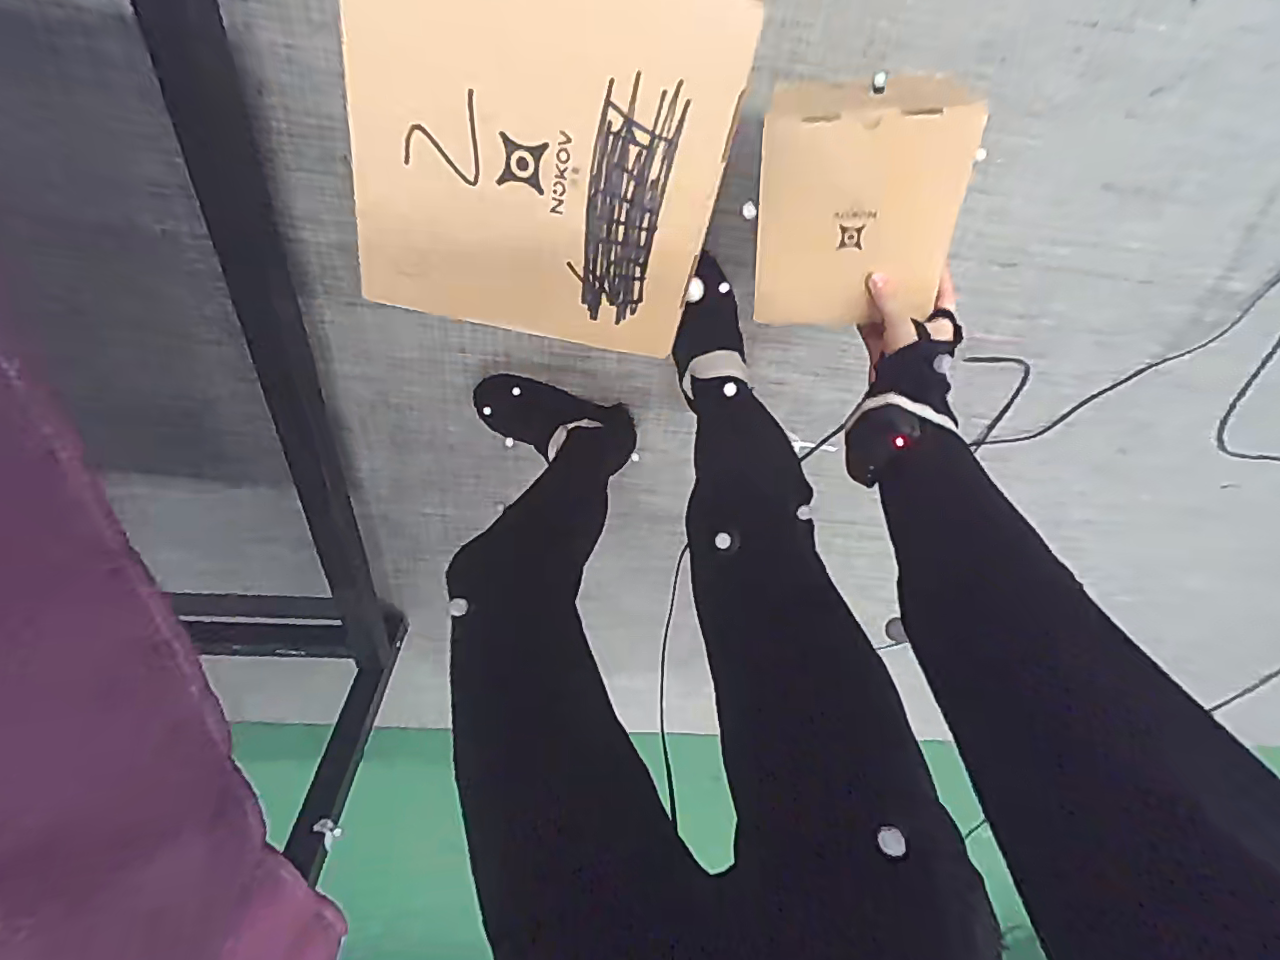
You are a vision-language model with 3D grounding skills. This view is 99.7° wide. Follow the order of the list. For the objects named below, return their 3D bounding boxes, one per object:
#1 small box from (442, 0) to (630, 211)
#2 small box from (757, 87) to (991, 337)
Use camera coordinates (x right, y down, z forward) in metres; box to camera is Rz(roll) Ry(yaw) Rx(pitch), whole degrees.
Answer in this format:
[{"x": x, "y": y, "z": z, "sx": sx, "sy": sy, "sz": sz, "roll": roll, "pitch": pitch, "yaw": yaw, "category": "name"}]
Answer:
[{"x": -0.102, "y": -0.407, "z": 0.576, "sx": 0.168, "sy": 0.176, "sz": 0.179, "roll": 3, "pitch": 128, "yaw": -5, "category": "small box"}, {"x": 0.210, "y": -0.261, "z": 0.530, "sx": 0.168, "sy": 0.176, "sz": 0.179, "roll": 5, "pitch": 133, "yaw": 14, "category": "small box"}]
